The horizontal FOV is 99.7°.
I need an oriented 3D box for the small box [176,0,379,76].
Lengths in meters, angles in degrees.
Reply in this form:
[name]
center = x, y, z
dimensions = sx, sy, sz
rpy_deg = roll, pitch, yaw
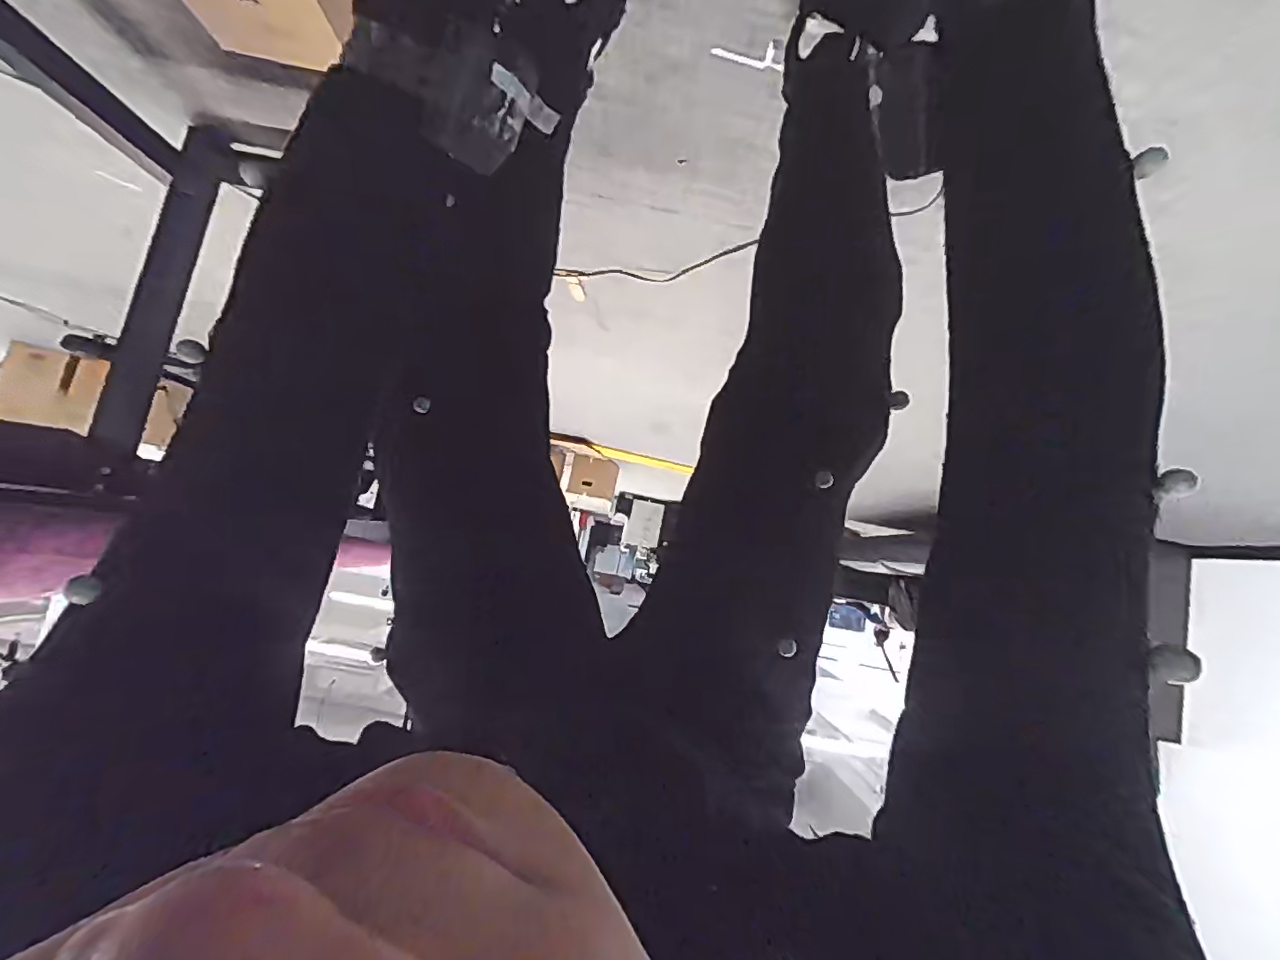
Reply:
[small box]
center = -0.378, -0.561, 0.534
dimensions = 0.168, 0.176, 0.179
rpy_deg = 12, 174, -1
